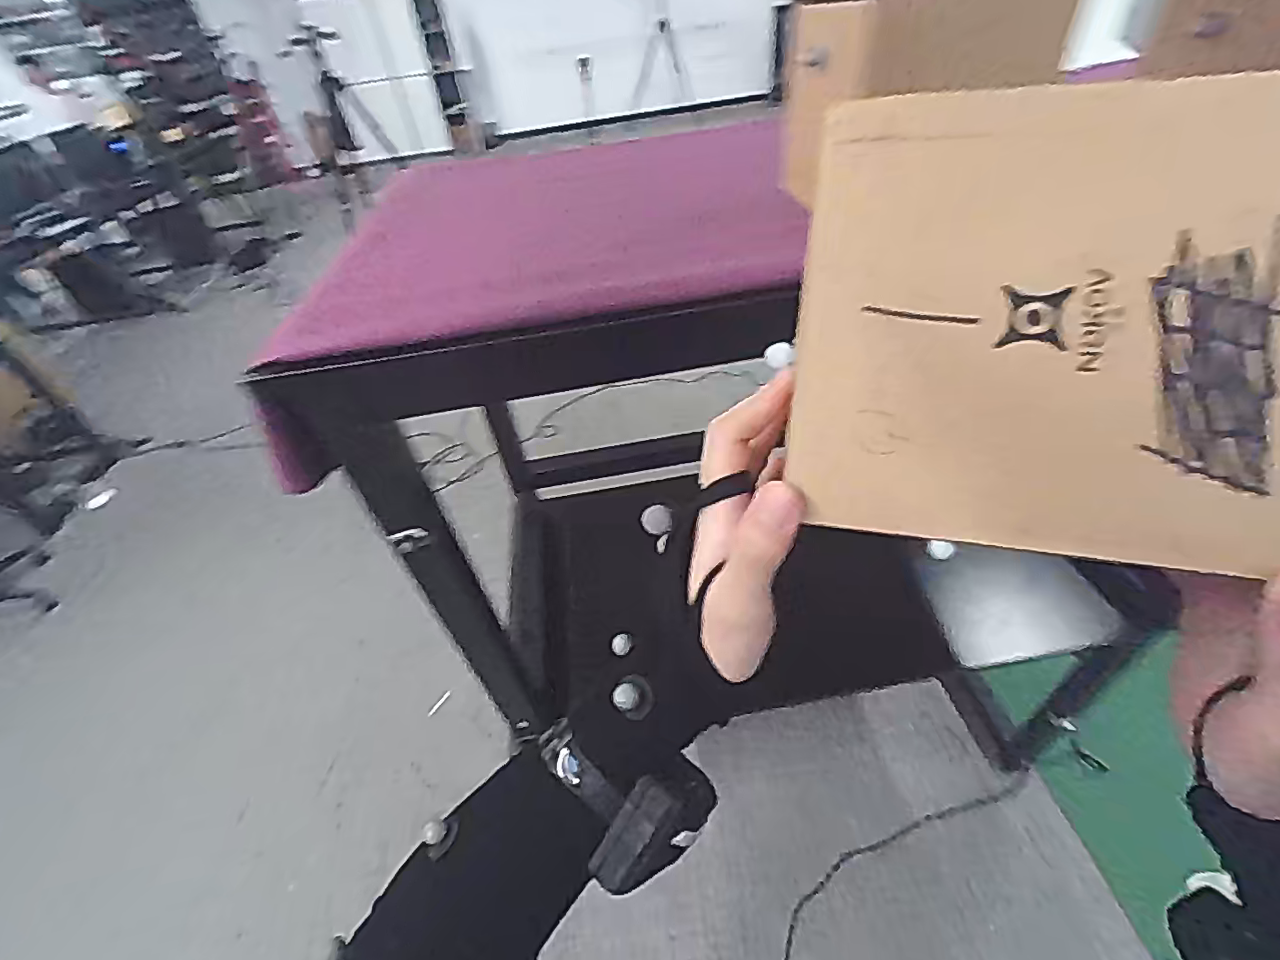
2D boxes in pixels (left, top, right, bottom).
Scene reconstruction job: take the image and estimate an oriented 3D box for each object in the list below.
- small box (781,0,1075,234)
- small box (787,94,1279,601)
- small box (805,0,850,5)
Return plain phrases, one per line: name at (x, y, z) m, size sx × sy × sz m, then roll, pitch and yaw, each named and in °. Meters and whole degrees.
small box at (0.232, -0.338, 0.493) m, size 0.168 × 0.176 × 0.179 m, roll -9°, pitch 42°, yaw 1°
small box at (0.173, -0.051, 0.269) m, size 0.179 × 0.168 × 0.176 m, roll 7°, pitch 2°, yaw 15°
small box at (0.209, -0.456, 0.381) m, size 0.179 × 0.176 × 0.168 m, roll -10°, pitch 41°, yaw 1°
